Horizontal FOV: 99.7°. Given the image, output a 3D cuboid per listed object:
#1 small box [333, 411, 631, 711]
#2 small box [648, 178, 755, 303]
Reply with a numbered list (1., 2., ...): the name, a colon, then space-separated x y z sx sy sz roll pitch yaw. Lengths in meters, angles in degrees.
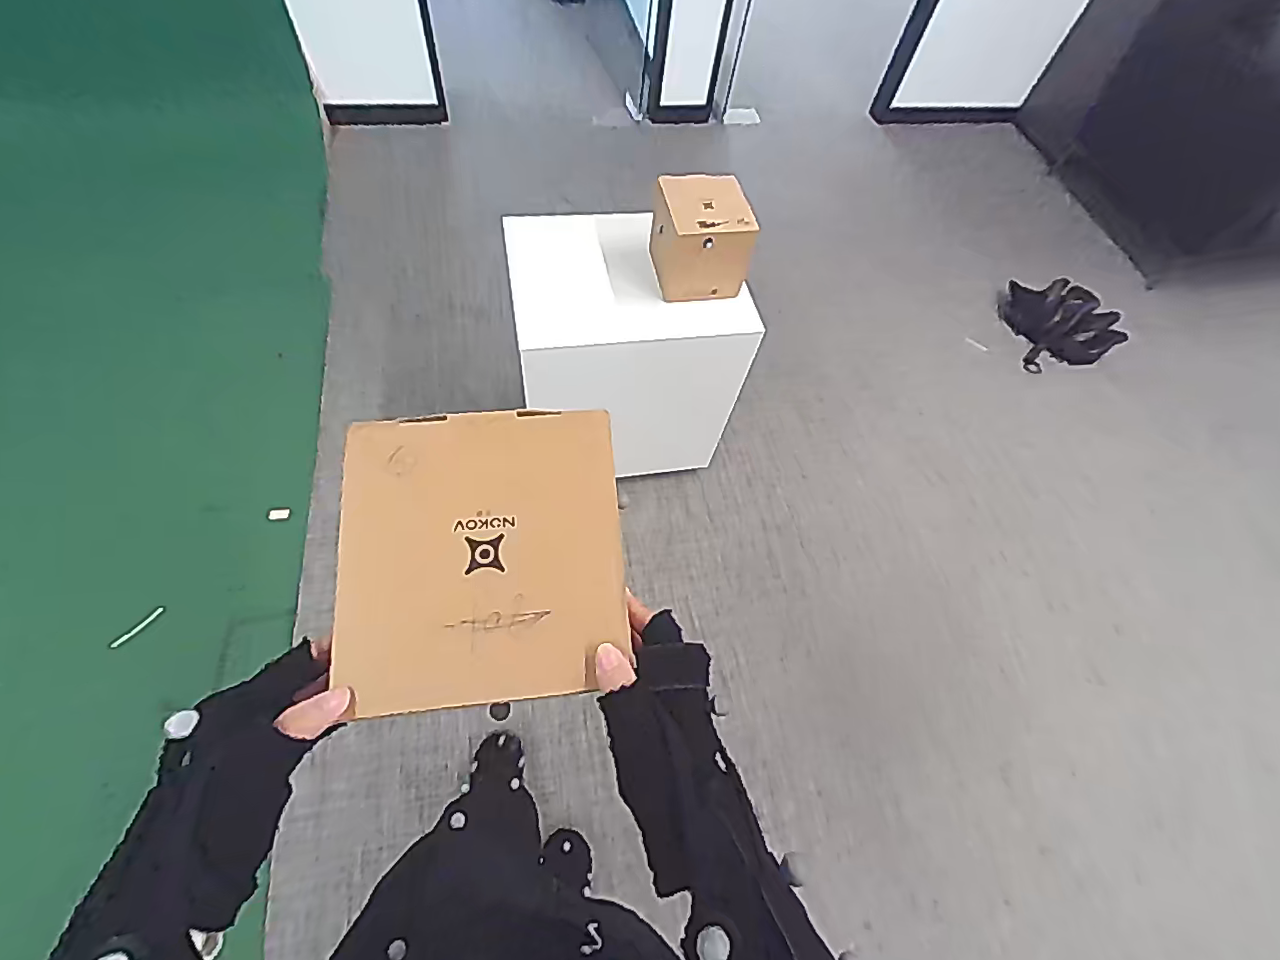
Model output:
1. small box: -0.102 0.066 0.404 0.168 0.176 0.179 -5 72 -7
2. small box: 0.116 -0.495 1.120 0.168 0.176 0.179 -9 61 -10
